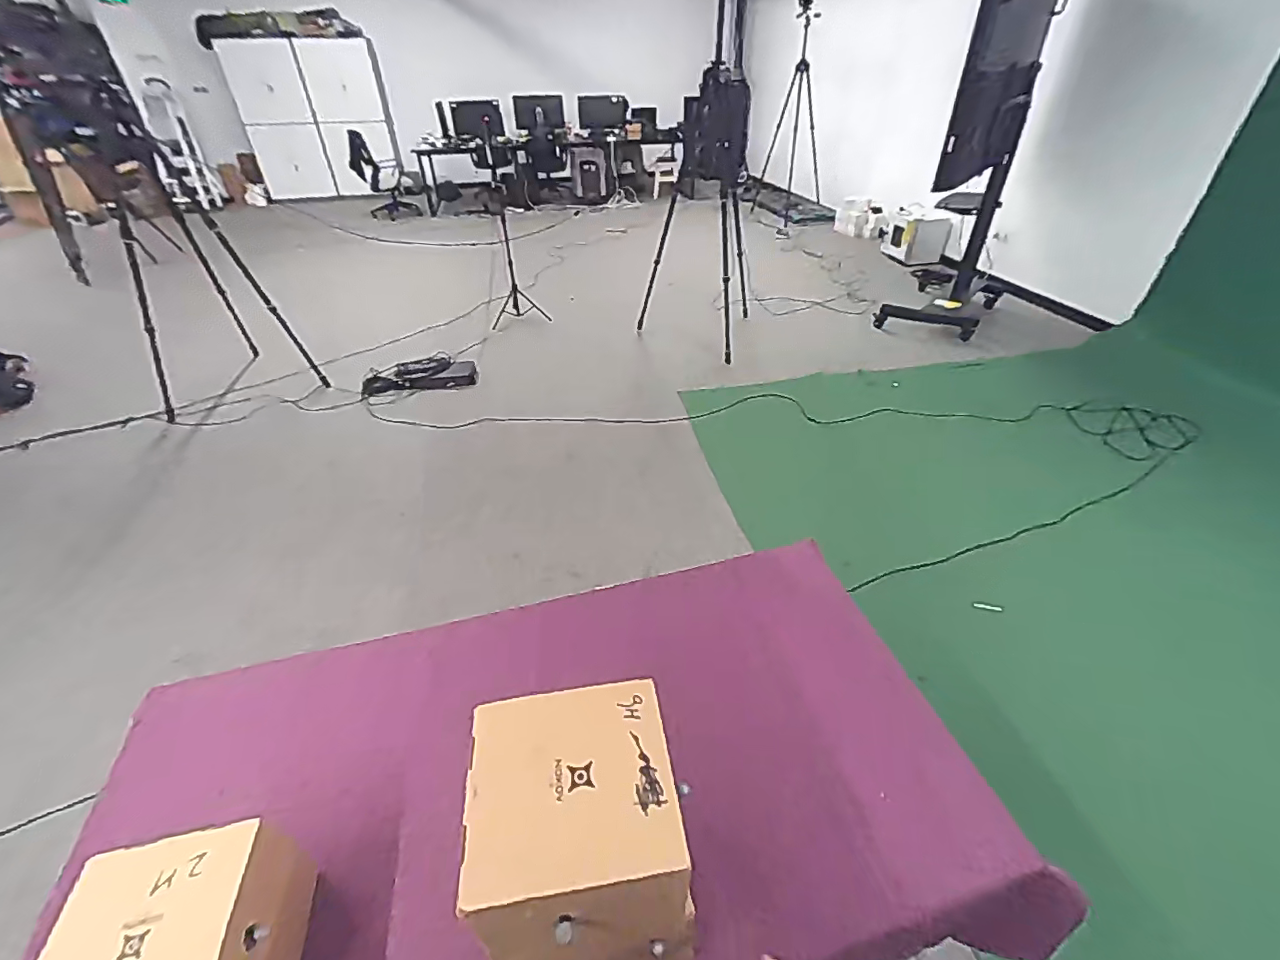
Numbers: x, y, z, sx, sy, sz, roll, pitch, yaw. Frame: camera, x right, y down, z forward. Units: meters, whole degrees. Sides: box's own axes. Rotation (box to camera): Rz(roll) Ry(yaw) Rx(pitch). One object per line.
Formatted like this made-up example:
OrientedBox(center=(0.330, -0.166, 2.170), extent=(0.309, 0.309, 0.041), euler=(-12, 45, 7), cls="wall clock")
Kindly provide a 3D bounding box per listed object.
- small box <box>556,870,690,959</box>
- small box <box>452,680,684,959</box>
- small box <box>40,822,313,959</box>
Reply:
OrientedBox(center=(-0.050, 0.446, 0.611), extent=(0.179, 0.176, 0.168), euler=(-9, 38, -11), cls="small box")
OrientedBox(center=(-0.059, 0.319, 0.507), extent=(0.179, 0.176, 0.168), euler=(-7, 38, -6), cls="small box")
OrientedBox(center=(-0.470, 0.497, 0.558), extent=(0.168, 0.176, 0.179), euler=(-8, 38, -9), cls="small box")
